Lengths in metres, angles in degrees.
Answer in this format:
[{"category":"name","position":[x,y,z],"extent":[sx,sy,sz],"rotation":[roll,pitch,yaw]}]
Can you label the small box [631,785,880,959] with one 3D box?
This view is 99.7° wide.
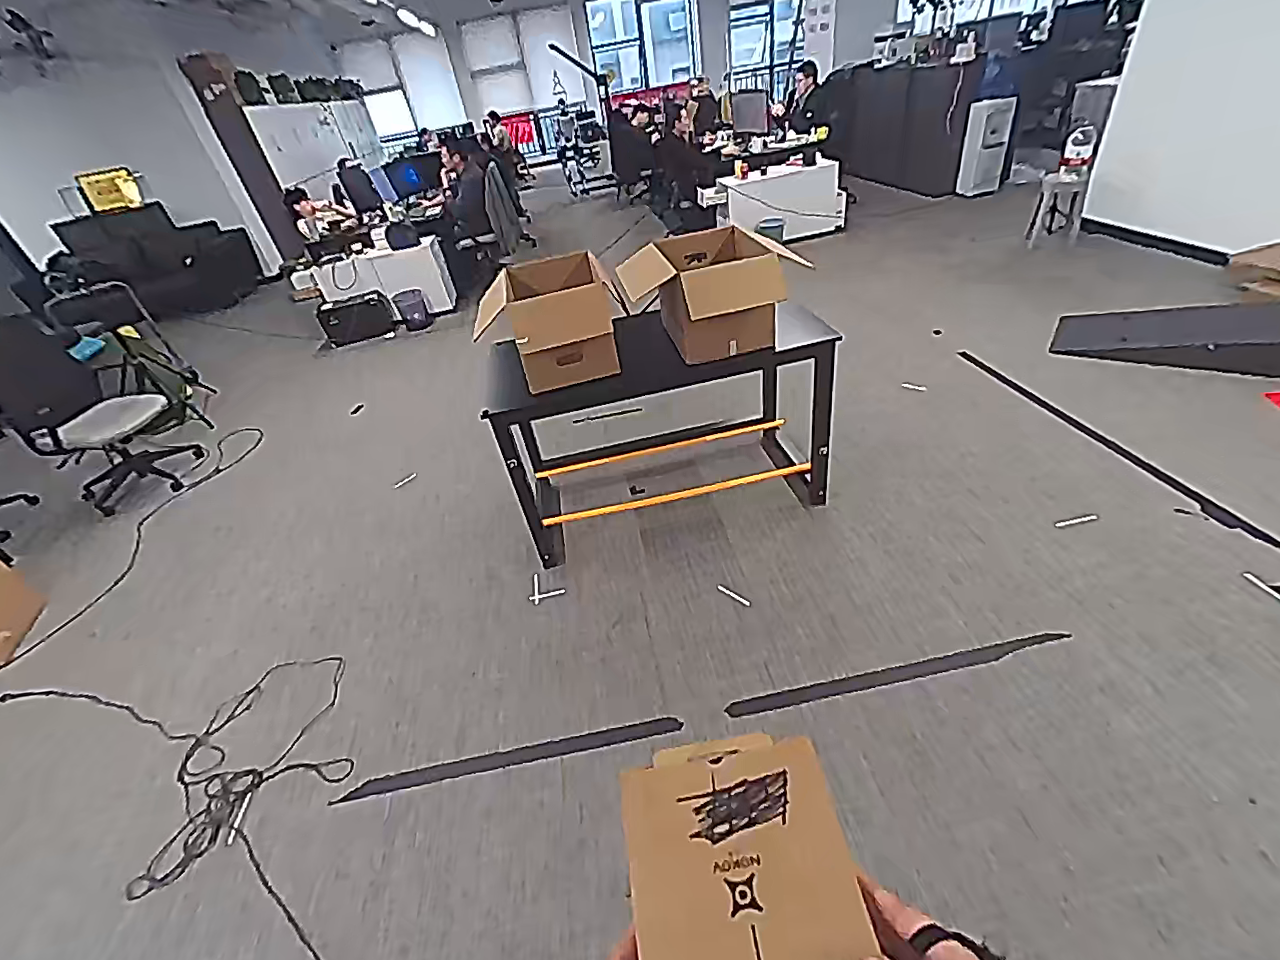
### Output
[{"category":"small box","position":[0.089,0.379,0.443],"extent":[0.168,0.176,0.179],"rotation":[-10,49,-1]}]
